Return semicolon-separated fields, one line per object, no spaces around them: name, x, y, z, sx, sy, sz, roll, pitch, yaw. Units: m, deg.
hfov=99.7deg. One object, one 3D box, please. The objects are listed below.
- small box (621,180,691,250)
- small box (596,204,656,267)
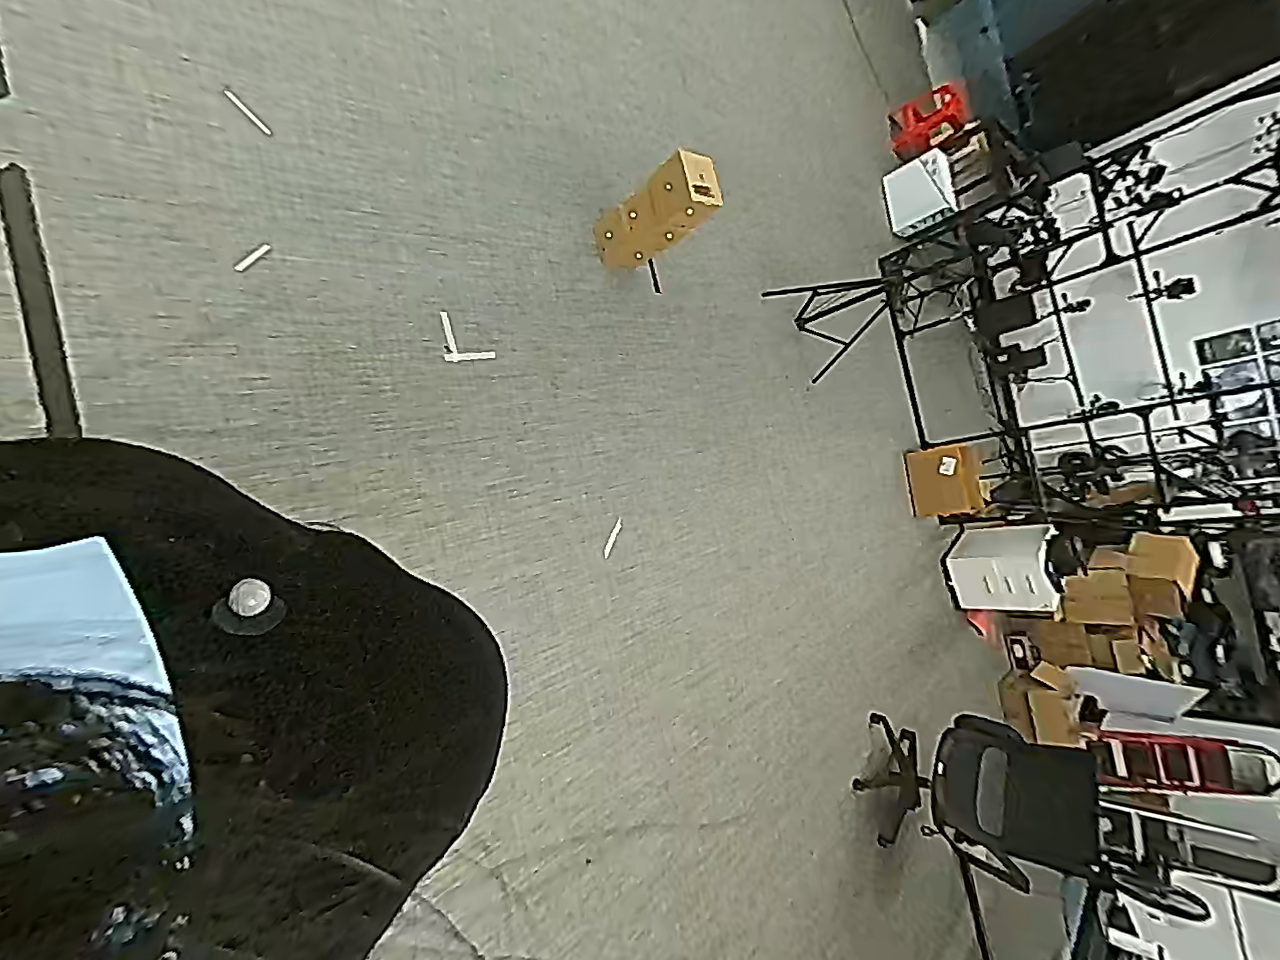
small box;0.058;-0.980;2.017;0.179;0.176;0.168;-13;90;-42
small box;-0.057;-0.958;2.131;0.179;0.176;0.168;-16;93;-43
